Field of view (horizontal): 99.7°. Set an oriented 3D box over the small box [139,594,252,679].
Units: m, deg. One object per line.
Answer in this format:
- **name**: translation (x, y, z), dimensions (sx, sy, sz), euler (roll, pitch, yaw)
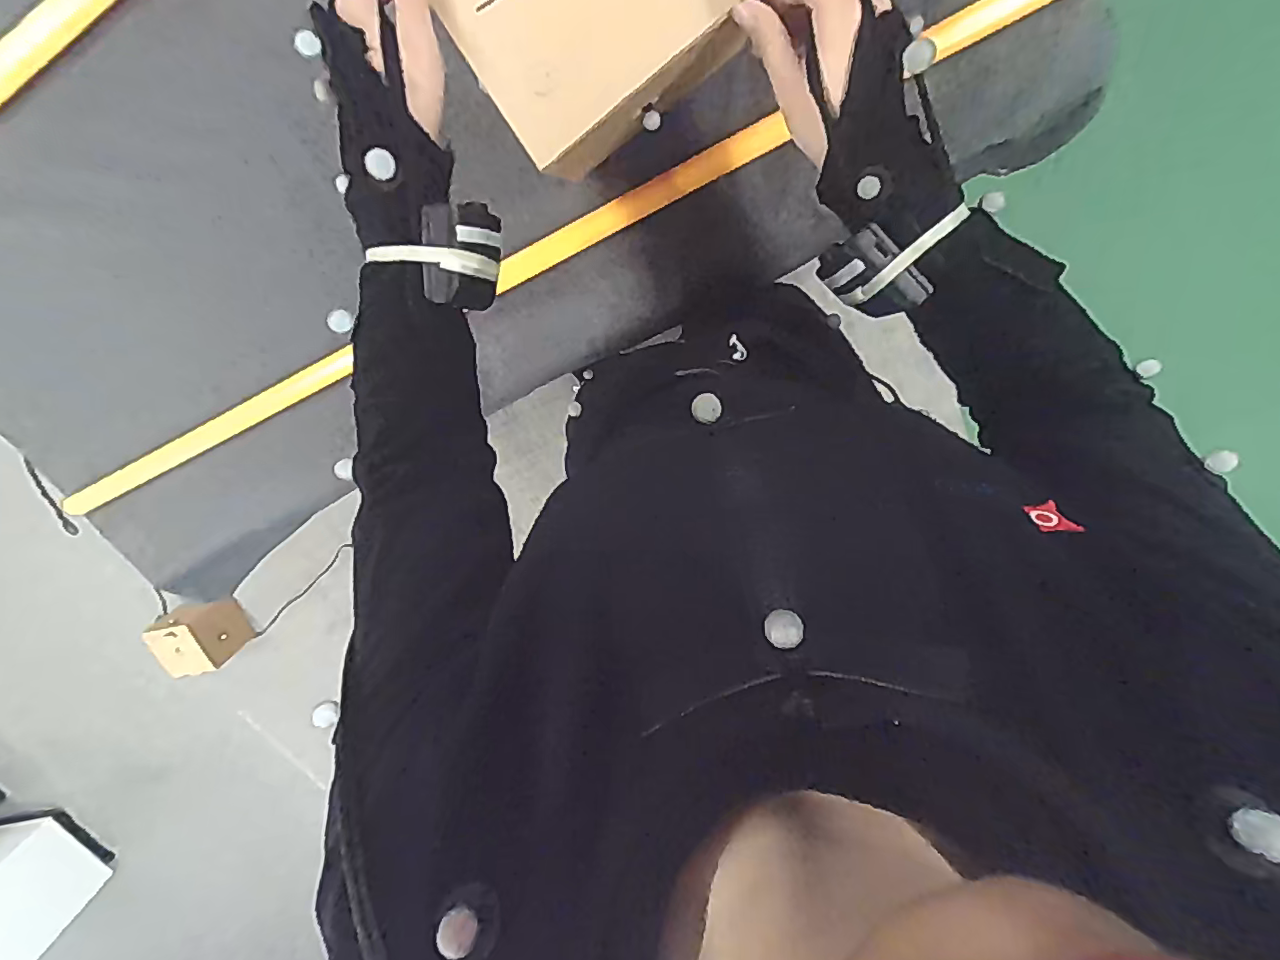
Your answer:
- **small box**: translation (-1.359, 0.480, 1.669), dimensions (0.168, 0.176, 0.179), euler (-12, 113, 10)
